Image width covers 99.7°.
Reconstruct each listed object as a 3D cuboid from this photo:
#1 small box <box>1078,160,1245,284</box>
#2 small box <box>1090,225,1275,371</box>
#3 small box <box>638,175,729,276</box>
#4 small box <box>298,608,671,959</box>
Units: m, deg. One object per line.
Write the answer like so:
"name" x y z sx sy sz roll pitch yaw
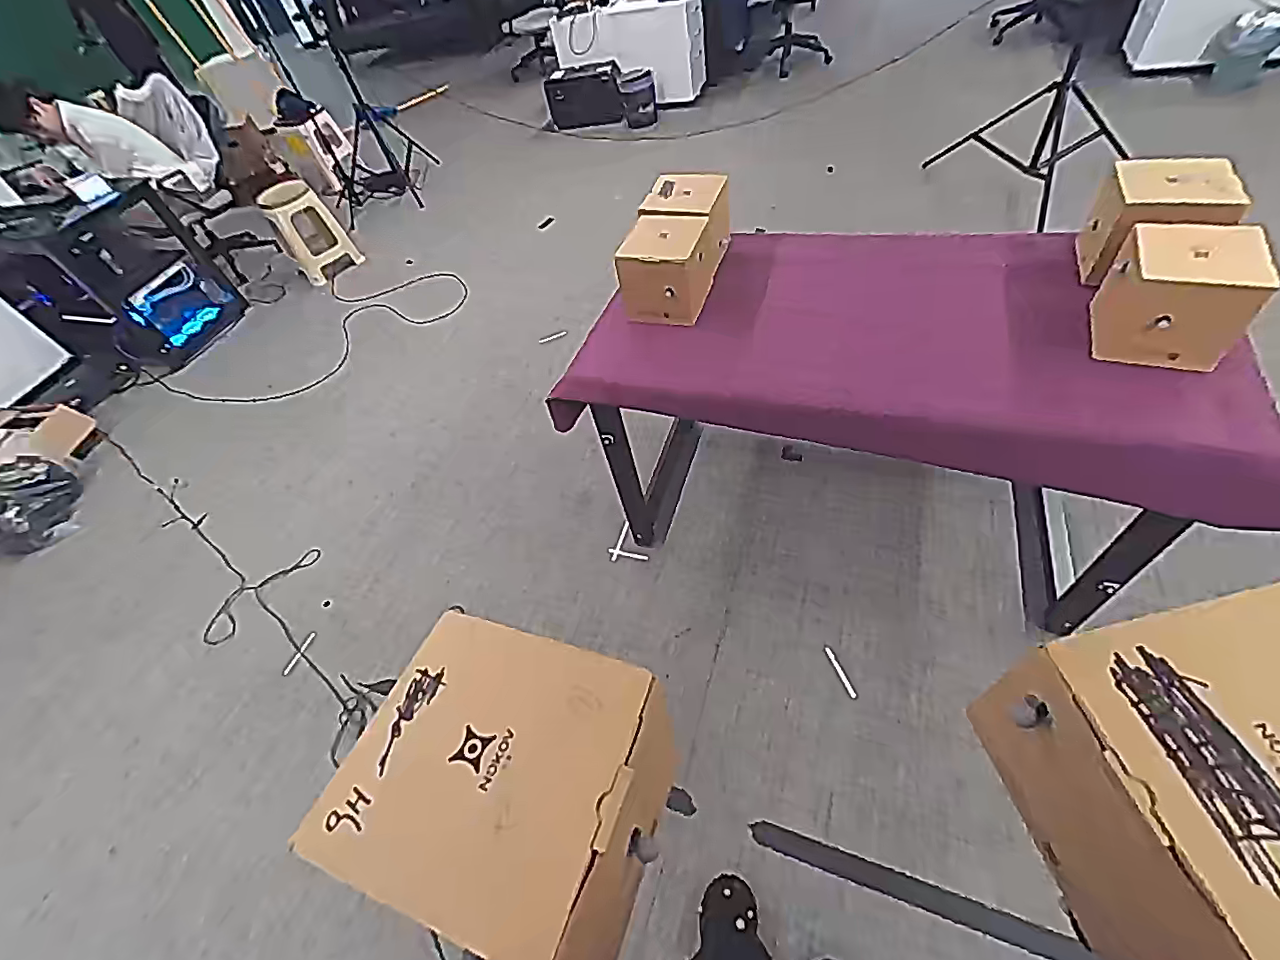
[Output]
"small box" 0.978 -0.487 1.039 0.179 0.176 0.168 11 57 19
"small box" 0.905 -0.310 0.924 0.168 0.176 0.179 14 56 23
"small box" 0.114 -0.625 1.332 0.179 0.176 0.168 13 58 19
"small box" -0.083 0.225 0.393 0.179 0.176 0.168 11 49 19
